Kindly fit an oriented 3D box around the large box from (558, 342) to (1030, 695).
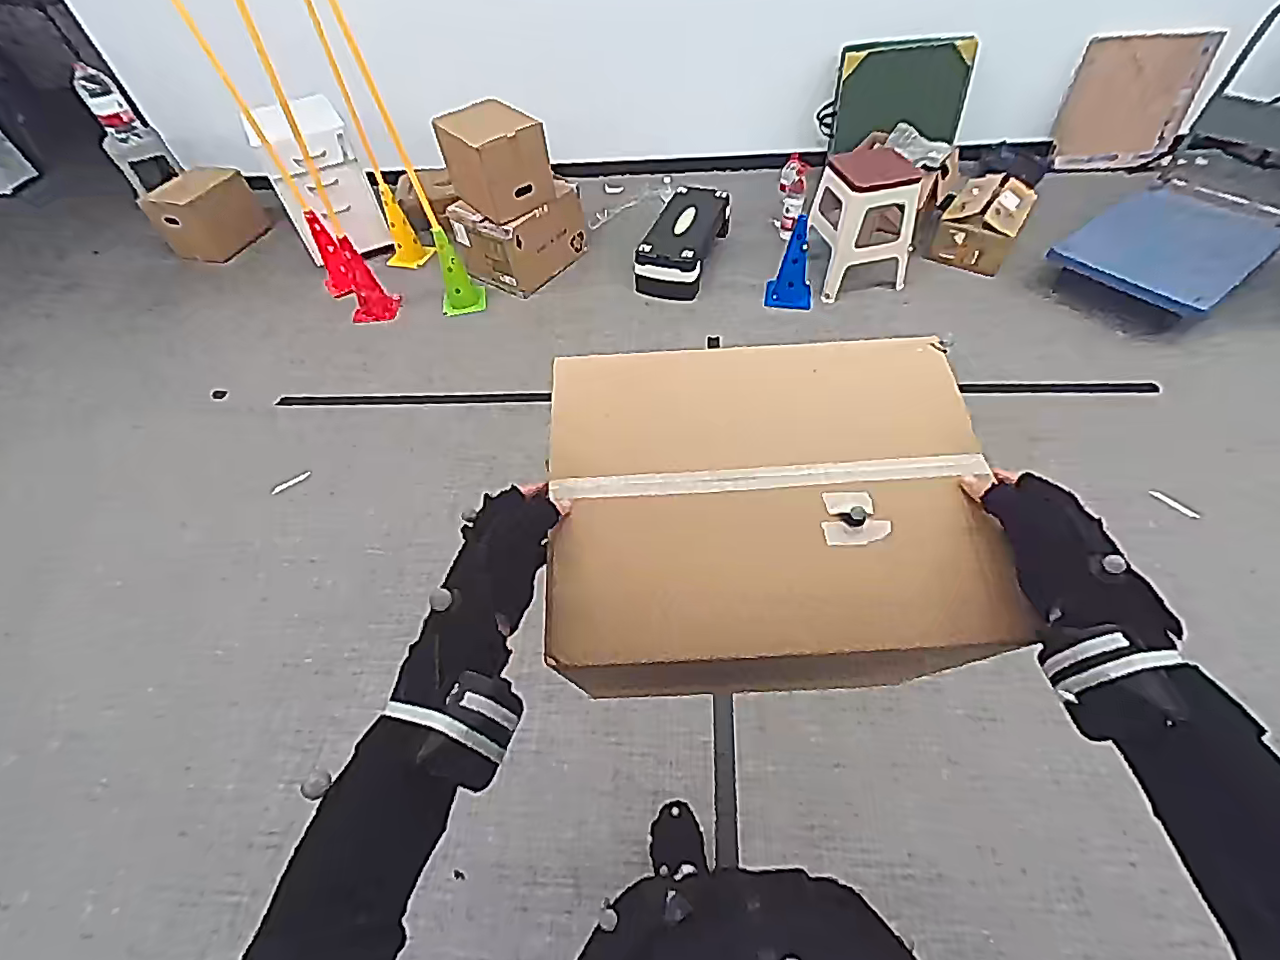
[{"bbox_3d":[0.122,0.067,0.646,0.408,0.320,0.320,-3,64,0],"label":"large box"}]
